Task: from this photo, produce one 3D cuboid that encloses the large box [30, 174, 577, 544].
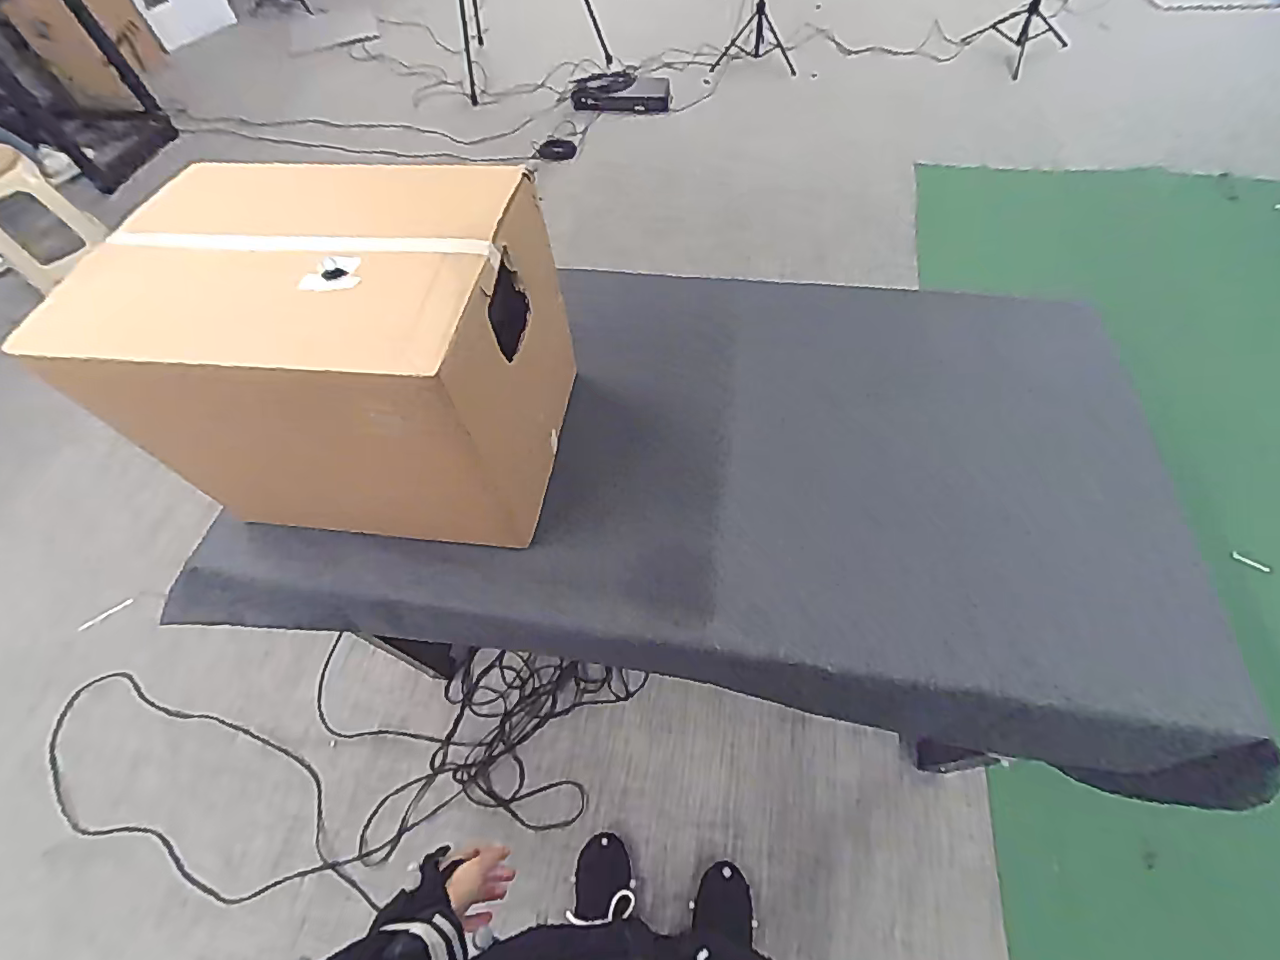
[{"bbox_3d":[-0.315,-0.137,0.657,0.408,0.320,0.320,5,58,6],"label":"large box"}]
